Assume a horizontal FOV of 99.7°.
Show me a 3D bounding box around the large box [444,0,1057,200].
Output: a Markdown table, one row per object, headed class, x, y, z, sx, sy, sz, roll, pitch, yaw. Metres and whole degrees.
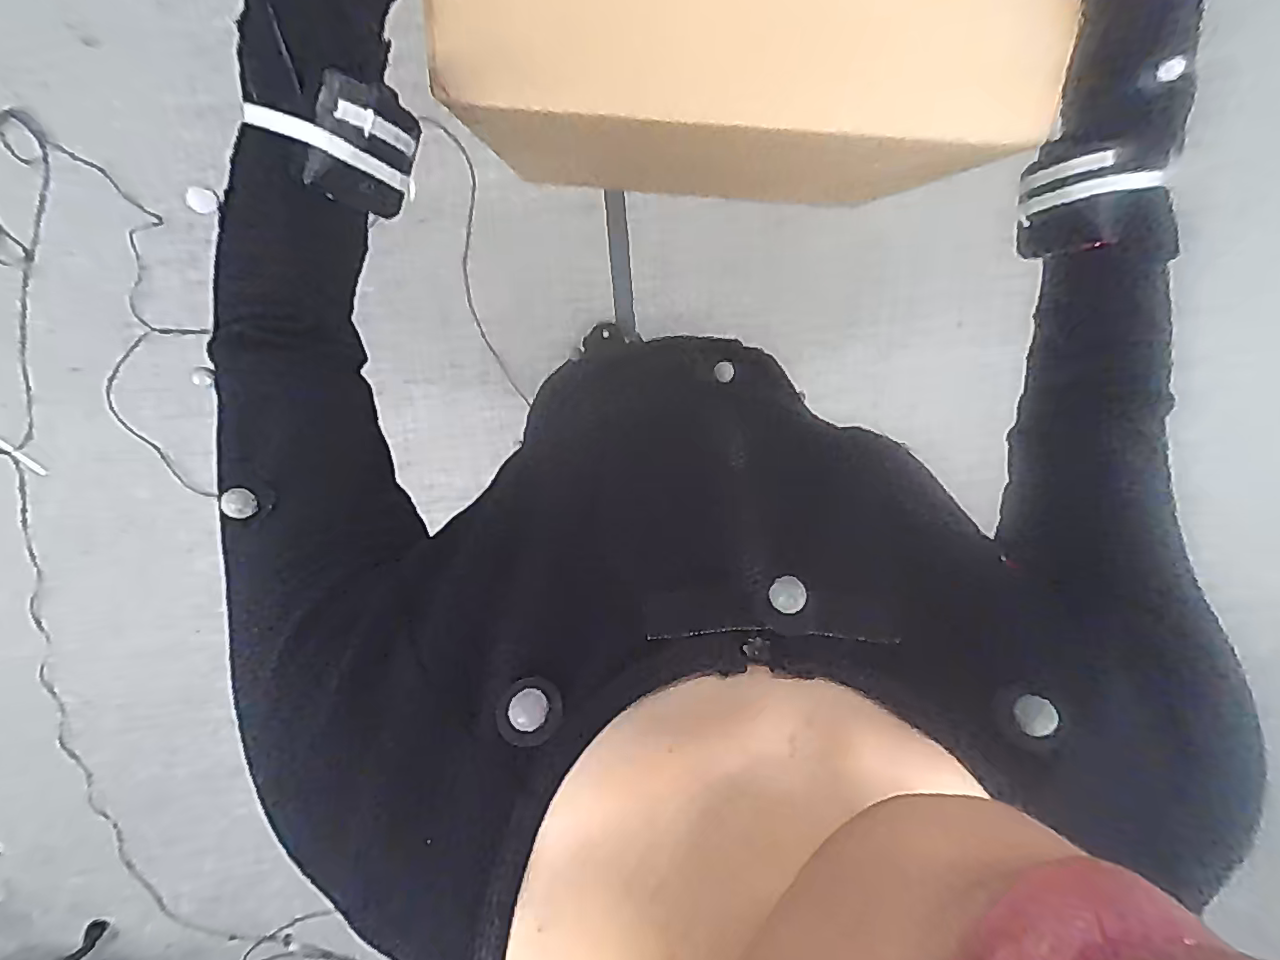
| class | x | y | z | sx | sy | sz | roll | pitch | yaw |
| --- | --- | --- | --- | --- | --- | --- | --- | --- | --- |
| large box | 0.071 | -0.438 | 0.458 | 0.408 | 0.320 | 0.320 | 2 | 110 | -3 |
